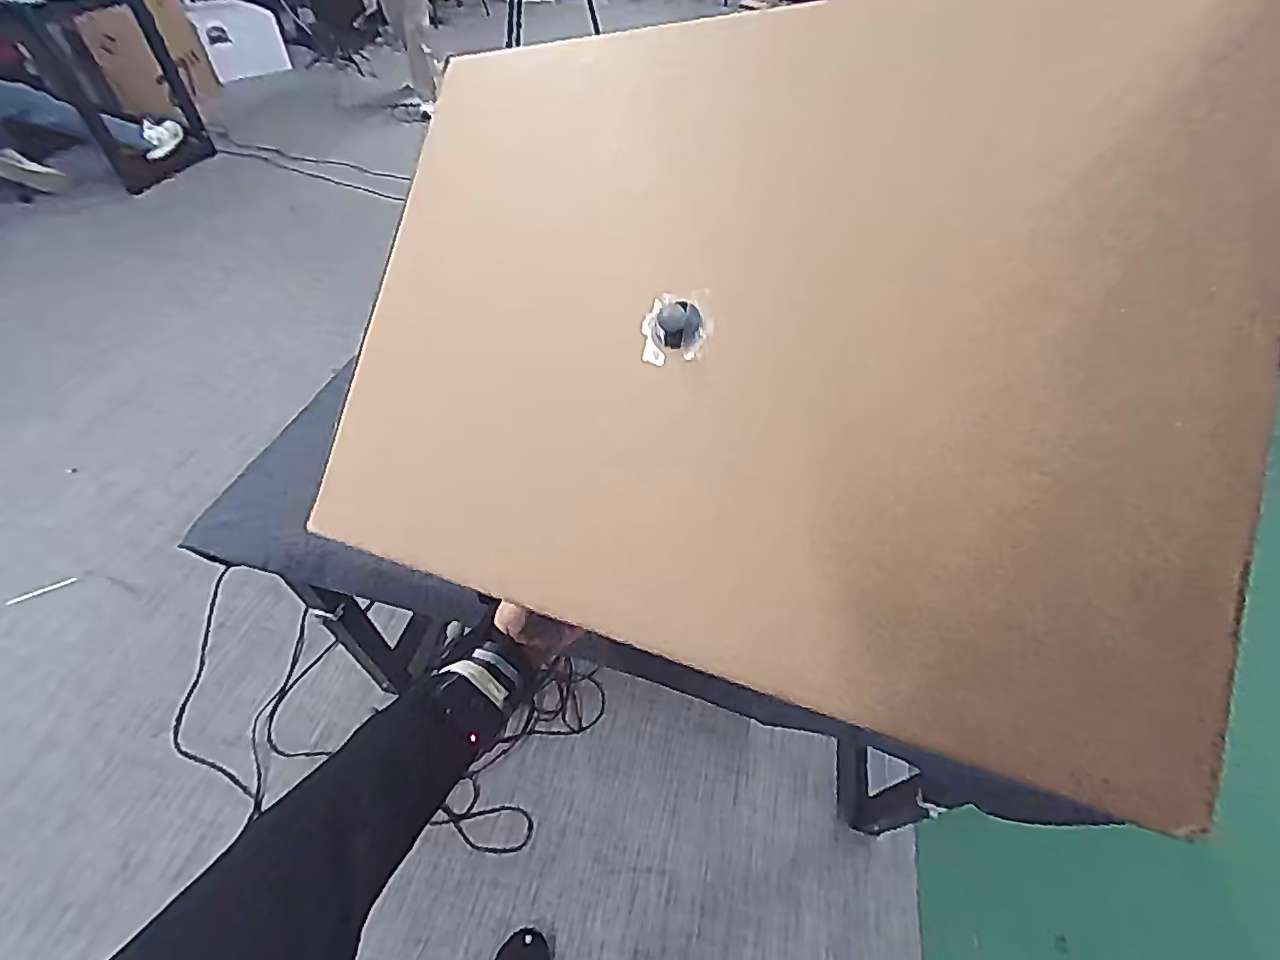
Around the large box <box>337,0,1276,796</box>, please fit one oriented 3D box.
[{"bbox_3d":[0.078,-0.045,0.397,0.408,0.320,0.320,10,84,22],"label":"large box"}]
